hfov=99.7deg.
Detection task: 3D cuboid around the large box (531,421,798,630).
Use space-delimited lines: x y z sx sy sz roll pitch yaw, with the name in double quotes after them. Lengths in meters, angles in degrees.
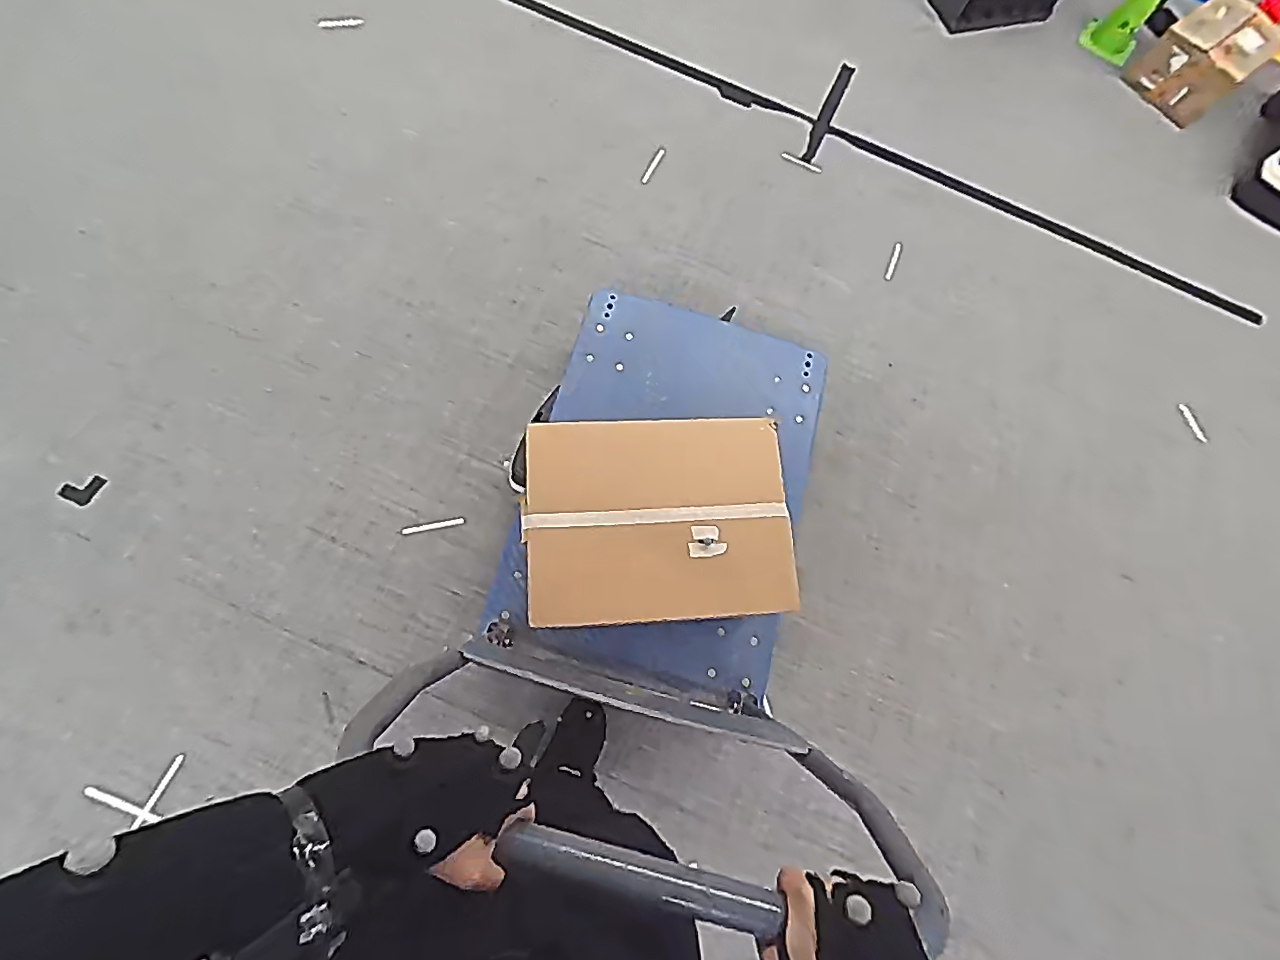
0.018 0.097 0.979 0.408 0.320 0.320 -2 76 -7 "large box"
